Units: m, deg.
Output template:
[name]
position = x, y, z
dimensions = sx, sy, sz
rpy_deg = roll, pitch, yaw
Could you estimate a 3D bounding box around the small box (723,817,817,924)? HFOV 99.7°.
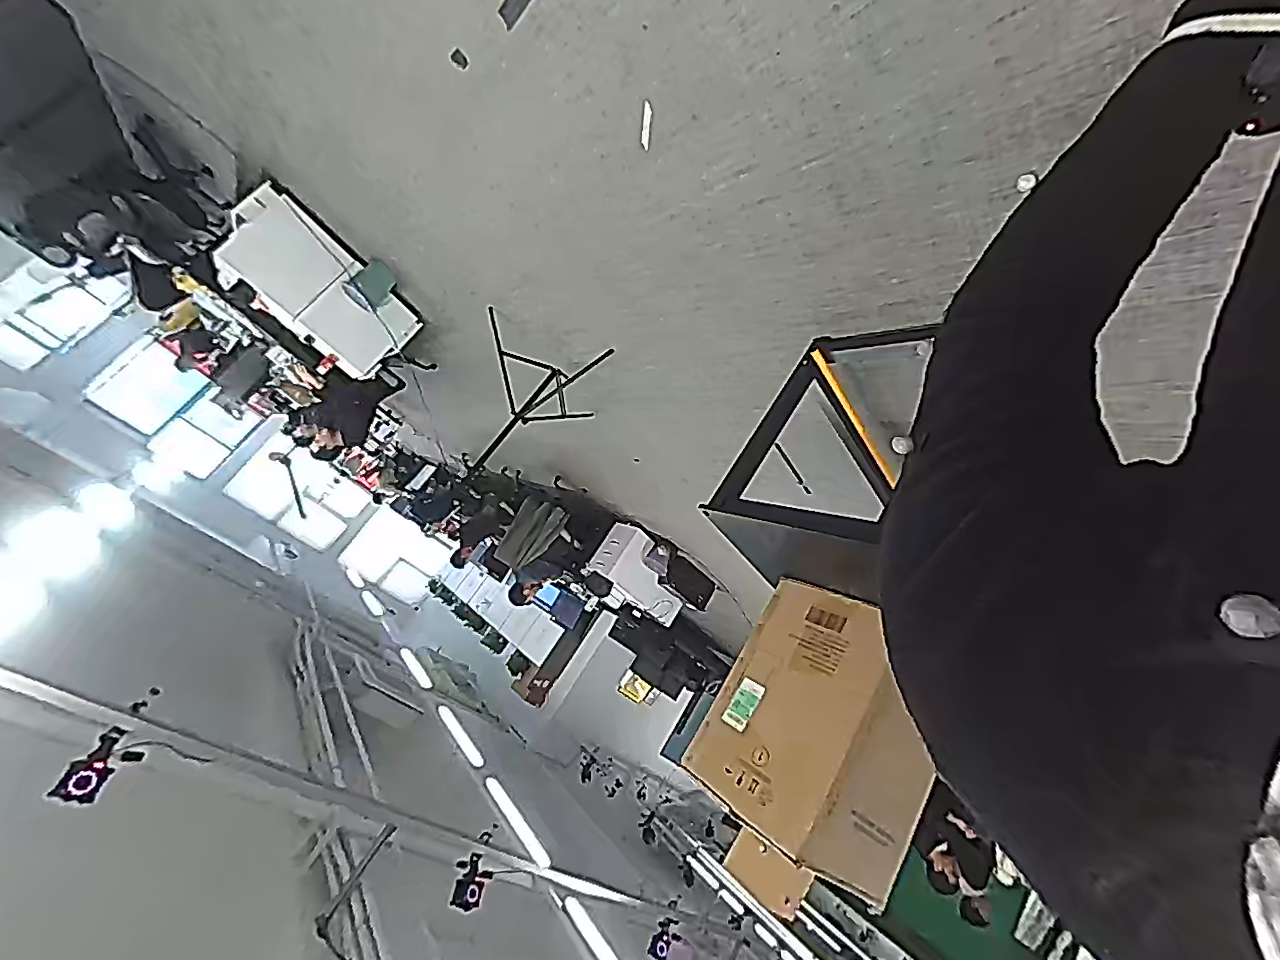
[small box]
position = 0.382, 1.123, 1.565
dimensions = 0.179, 0.176, 0.168
rpy_deg = 47, 161, -31
